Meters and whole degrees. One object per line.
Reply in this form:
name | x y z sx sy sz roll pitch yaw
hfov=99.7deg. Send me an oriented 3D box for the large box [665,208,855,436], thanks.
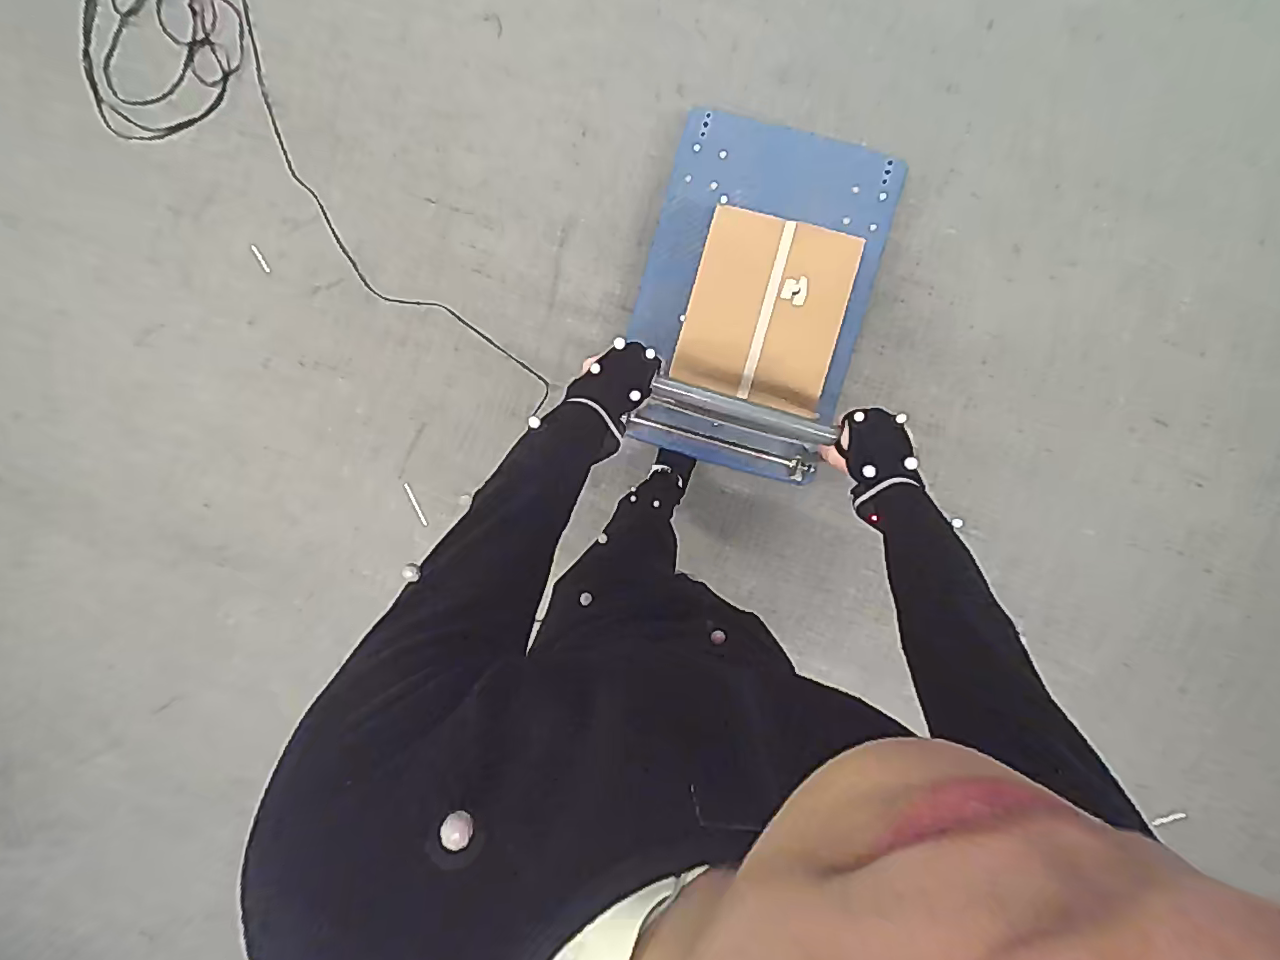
large box | 0.257 -0.339 1.270 0.320 0.320 0.408 16 91 3
